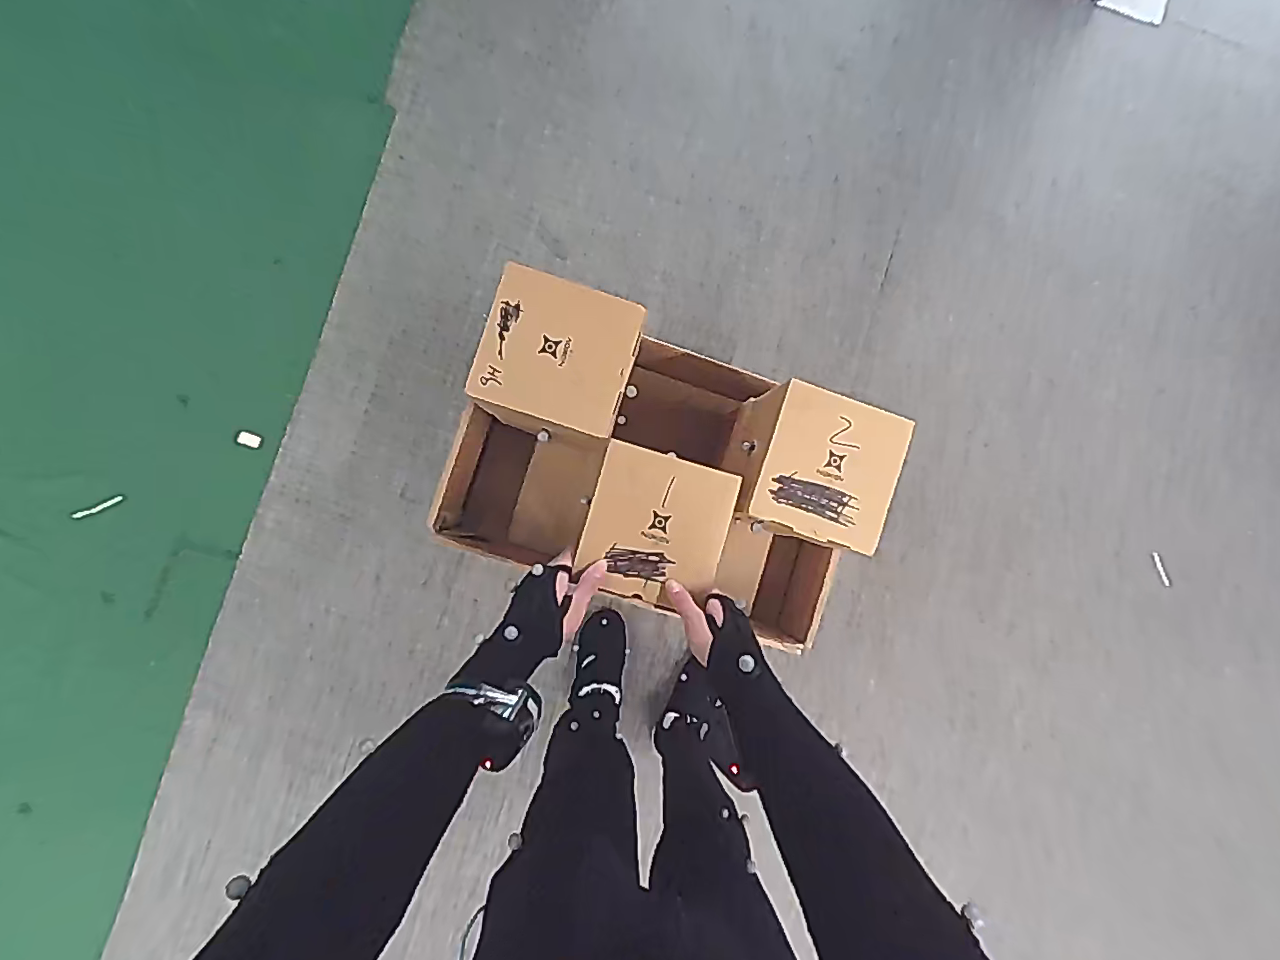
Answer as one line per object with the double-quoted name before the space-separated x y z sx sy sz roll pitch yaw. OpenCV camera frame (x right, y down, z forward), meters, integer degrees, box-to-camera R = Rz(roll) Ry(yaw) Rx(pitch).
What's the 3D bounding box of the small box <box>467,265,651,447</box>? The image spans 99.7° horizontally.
"small box" -0.100 -0.147 0.710 0.179 0.176 0.168 18 87 -4
